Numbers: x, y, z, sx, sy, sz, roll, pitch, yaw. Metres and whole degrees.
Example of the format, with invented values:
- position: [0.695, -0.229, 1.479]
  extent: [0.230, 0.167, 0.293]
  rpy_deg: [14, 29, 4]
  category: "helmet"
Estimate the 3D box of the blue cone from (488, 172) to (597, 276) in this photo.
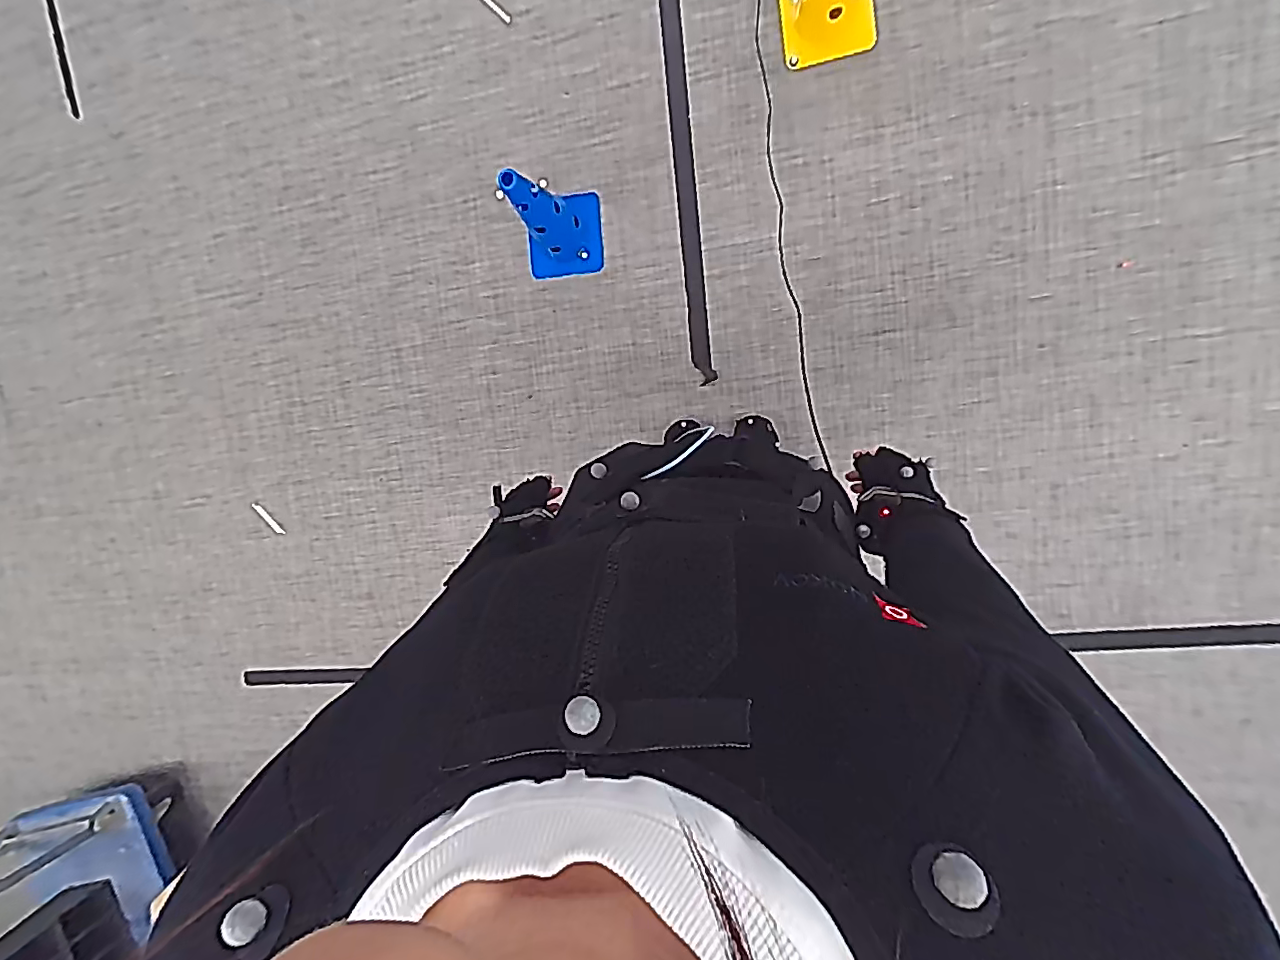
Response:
- position: [-0.238, -0.620, 1.252]
  extent: [0.192, 0.380, 0.193]
  rpy_deg: [-1, 97, 12]
  category: "blue cone"
